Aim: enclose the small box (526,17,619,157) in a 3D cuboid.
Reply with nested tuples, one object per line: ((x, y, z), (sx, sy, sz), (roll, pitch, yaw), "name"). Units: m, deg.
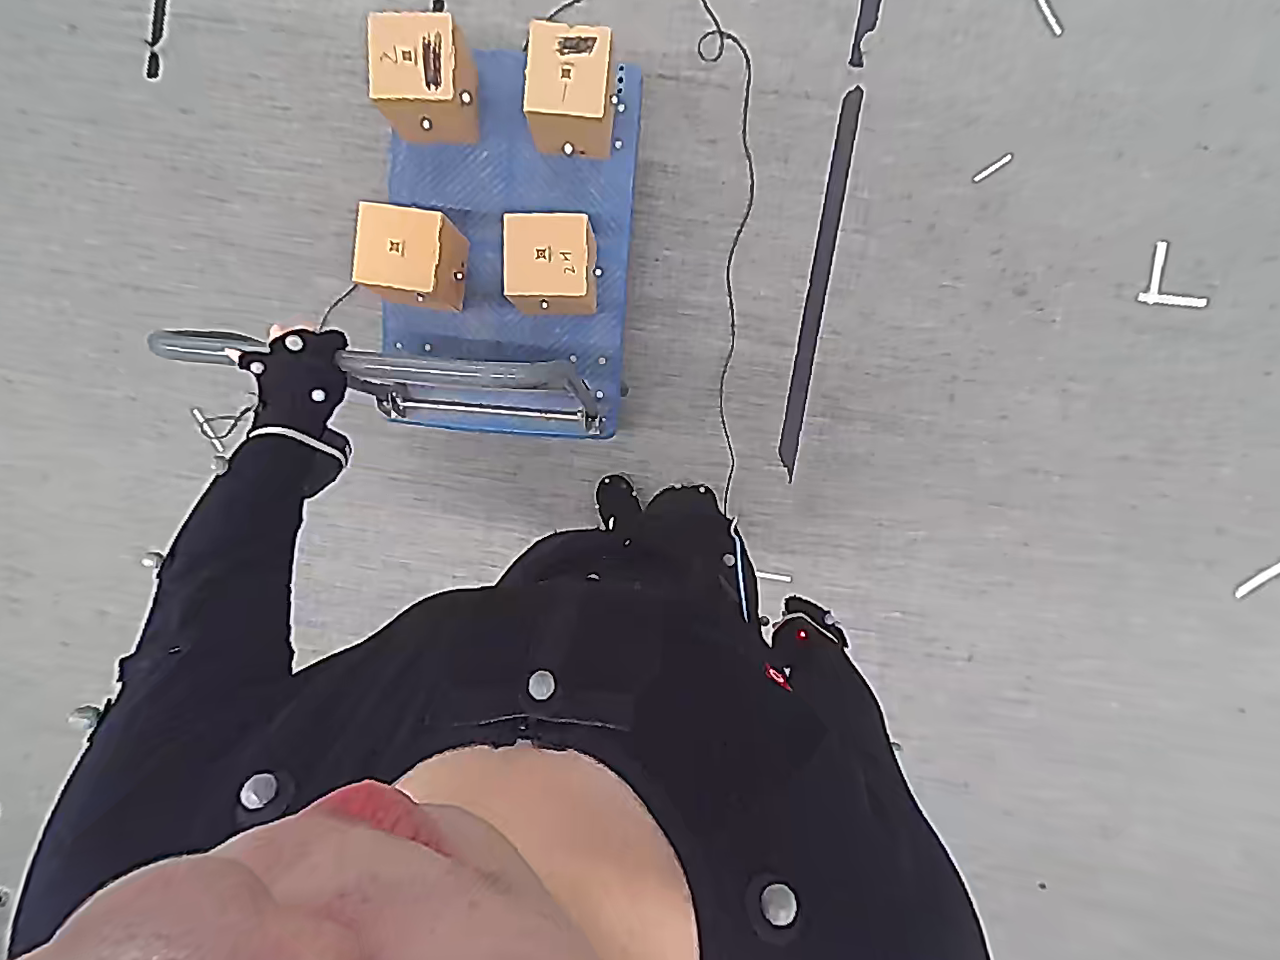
((-0.138, -0.830, 1.156), (0.168, 0.176, 0.179), (7, 96, 1), "small box")

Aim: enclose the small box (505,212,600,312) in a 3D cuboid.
((-0.186, -0.470, 1.186), (0.179, 0.176, 0.168), (1, 95, 2), "small box")

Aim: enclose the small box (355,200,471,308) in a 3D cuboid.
((-0.495, -0.490, 1.195), (0.179, 0.176, 0.168), (8, 95, 0), "small box")
